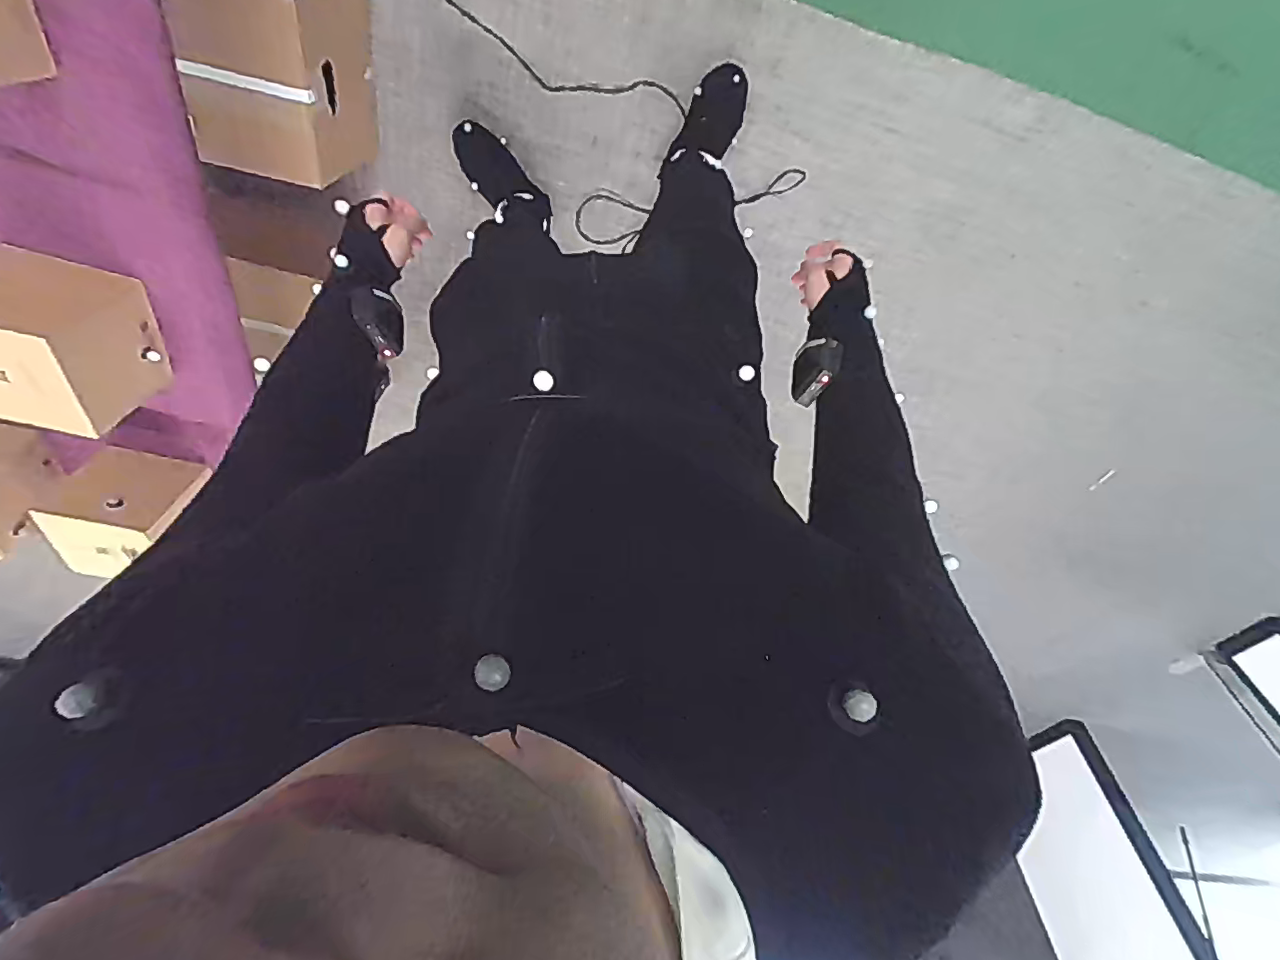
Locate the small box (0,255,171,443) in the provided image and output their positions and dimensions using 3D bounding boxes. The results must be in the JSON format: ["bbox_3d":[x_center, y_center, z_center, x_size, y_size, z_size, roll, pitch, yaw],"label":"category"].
[{"bbox_3d":[-0.806,-0.182,0.736,0.179,0.176,0.168,14,133,-10],"label":"small box"}]

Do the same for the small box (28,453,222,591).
[{"bbox_3d":[-0.901,0.073,0.976,0.179,0.176,0.168,13,132,-7],"label":"small box"}]

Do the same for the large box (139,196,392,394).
[{"bbox_3d":[-0.900,-0.470,1.378,0.408,0.320,0.320,13,132,-8],"label":"large box"}]
